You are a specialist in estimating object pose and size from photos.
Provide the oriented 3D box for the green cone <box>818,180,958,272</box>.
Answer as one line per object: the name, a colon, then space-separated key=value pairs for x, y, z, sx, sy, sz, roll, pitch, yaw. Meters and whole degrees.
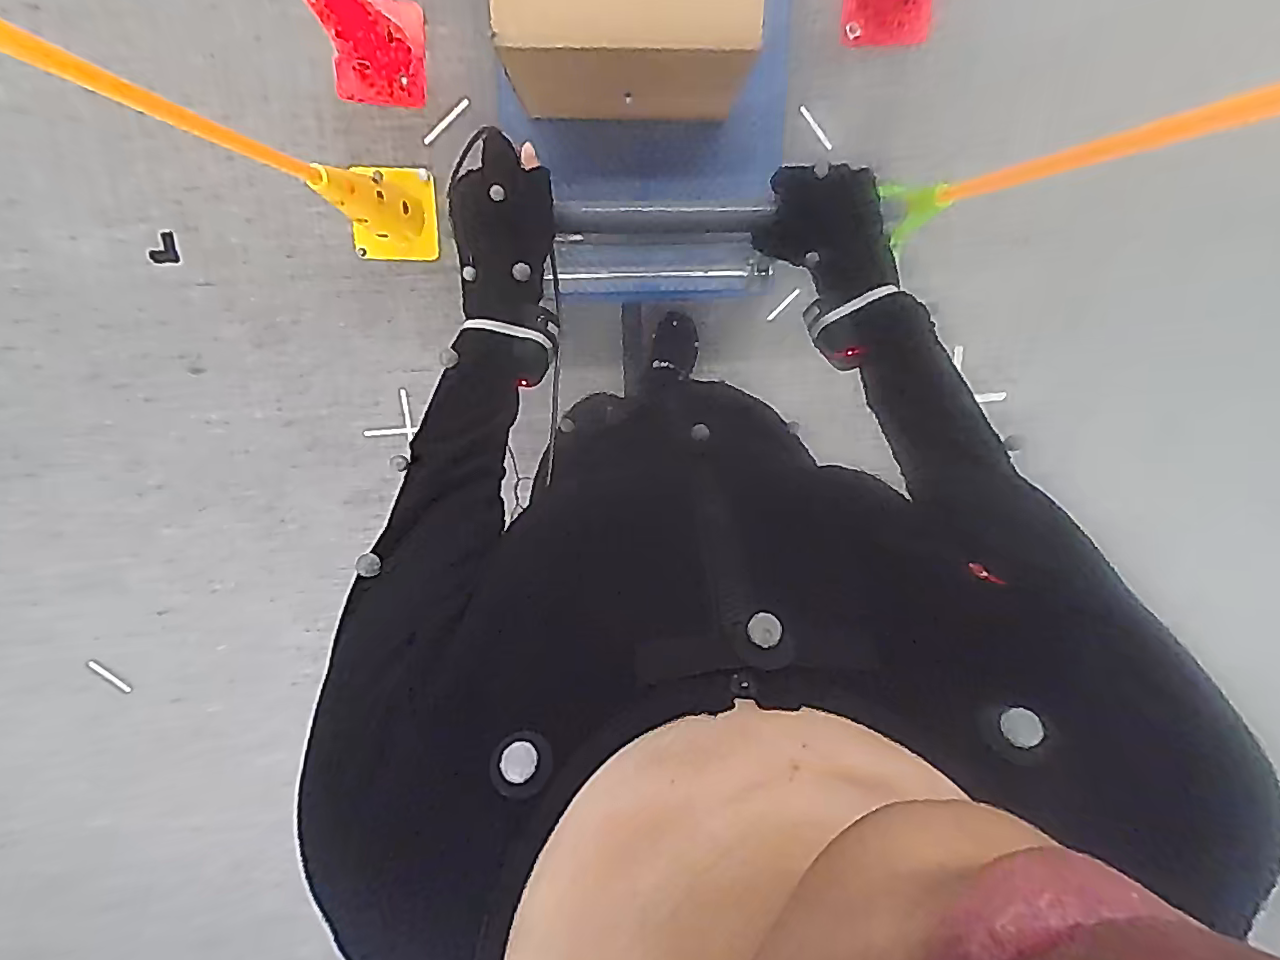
green cone: x=0.550 y=-0.571 z=1.159 sx=0.202 sy=0.368 sz=0.200 roll=1 pitch=106 yaw=-3

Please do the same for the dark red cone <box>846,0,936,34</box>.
dark red cone: x=0.552 y=-1.032 z=1.006 sx=0.201 sy=0.394 sz=0.202 roll=-3 pitch=107 yaw=-3

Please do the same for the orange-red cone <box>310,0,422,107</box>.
orange-red cone: x=-0.574 y=-0.903 z=1.030 sx=0.198 sy=0.360 sz=0.199 roll=4 pitch=105 yaw=-4

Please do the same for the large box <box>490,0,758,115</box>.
large box: x=-0.026 y=-0.841 z=0.913 sx=0.408 sy=0.320 sz=0.320 roll=0 pitch=107 yaw=-1
